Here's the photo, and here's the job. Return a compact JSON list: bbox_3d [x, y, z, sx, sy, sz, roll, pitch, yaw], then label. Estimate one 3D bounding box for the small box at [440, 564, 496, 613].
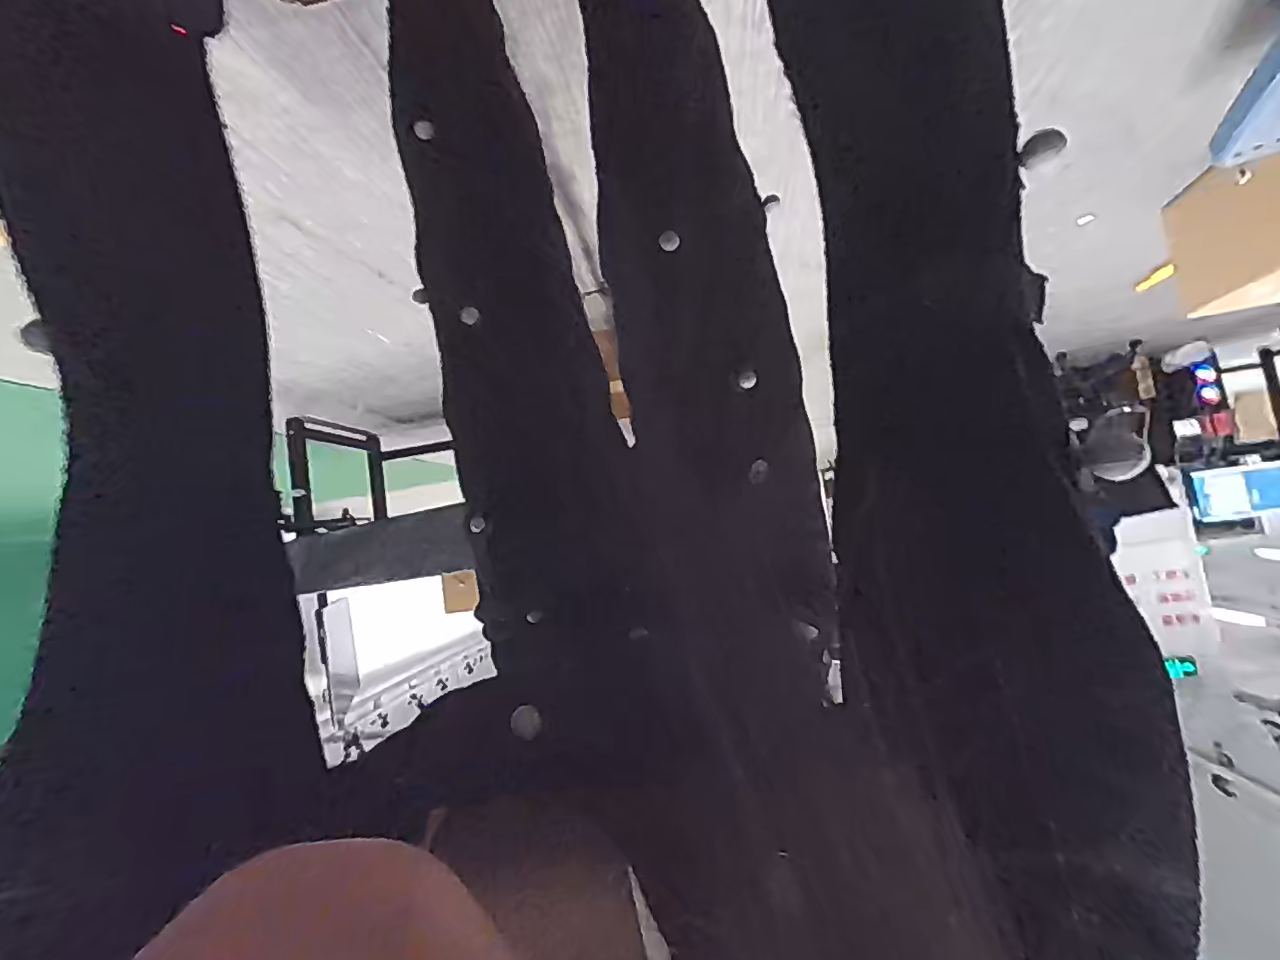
[{"bbox_3d":[-0.713,0.447,2.250,0.168,0.176,0.179,-9,175,5],"label":"small box"}]
